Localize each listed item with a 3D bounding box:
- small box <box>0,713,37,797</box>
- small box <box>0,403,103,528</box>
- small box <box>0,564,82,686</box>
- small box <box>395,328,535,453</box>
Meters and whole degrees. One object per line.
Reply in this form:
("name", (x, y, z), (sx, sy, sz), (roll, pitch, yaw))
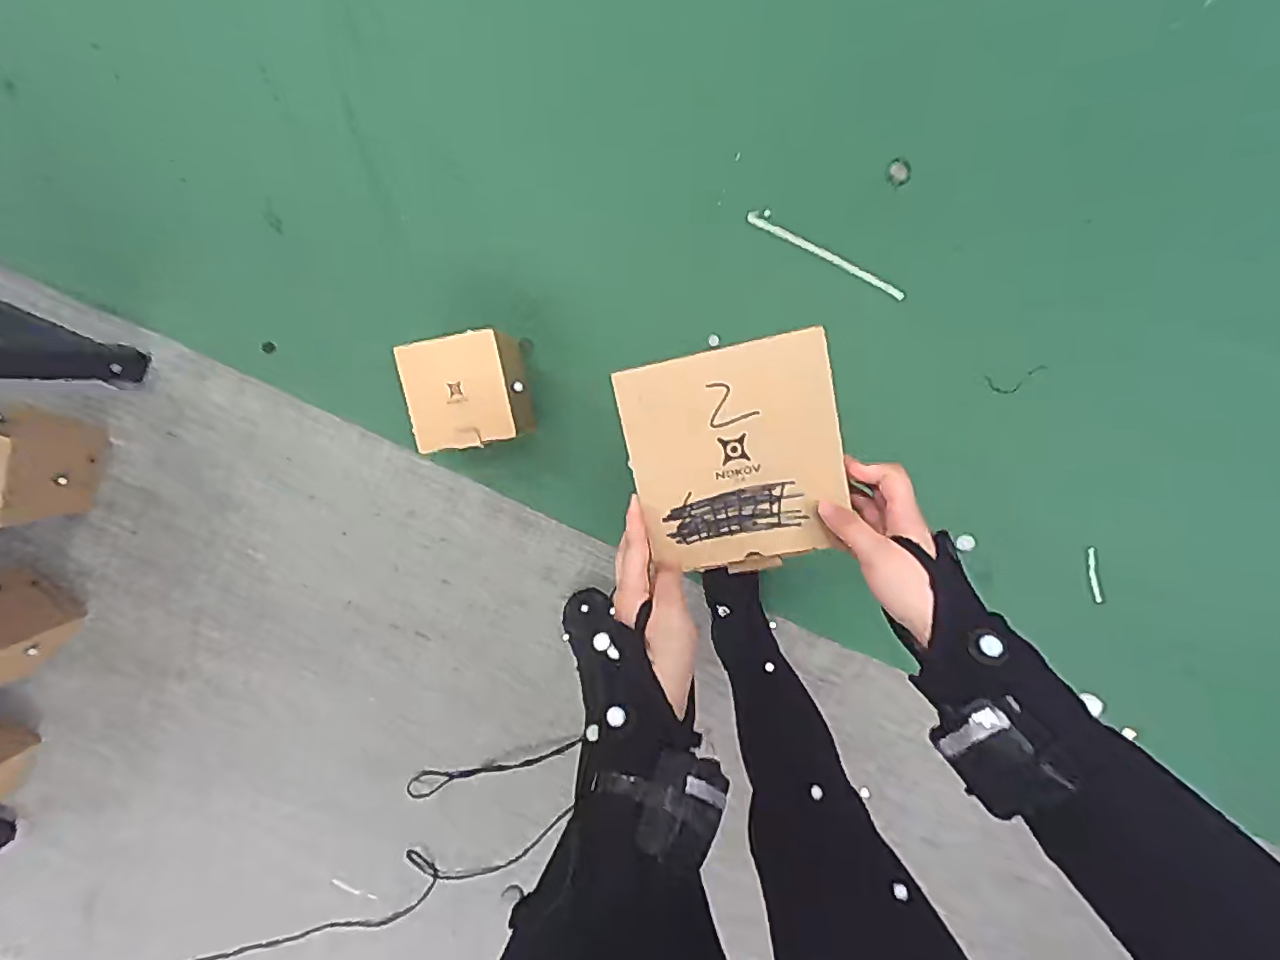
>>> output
("small box", (-1.405, 0.592, 1.094), (0.168, 0.176, 0.179), (36, 100, -6))
("small box", (-1.133, -0.035, 0.969), (0.179, 0.176, 0.168), (20, 100, -3))
("small box", (-1.247, 0.289, 1.034), (0.179, 0.176, 0.168), (-44, 96, 10))
("small box", (-0.292, -0.154, 0.939), (0.168, 0.176, 0.179), (-10, 101, 3))
